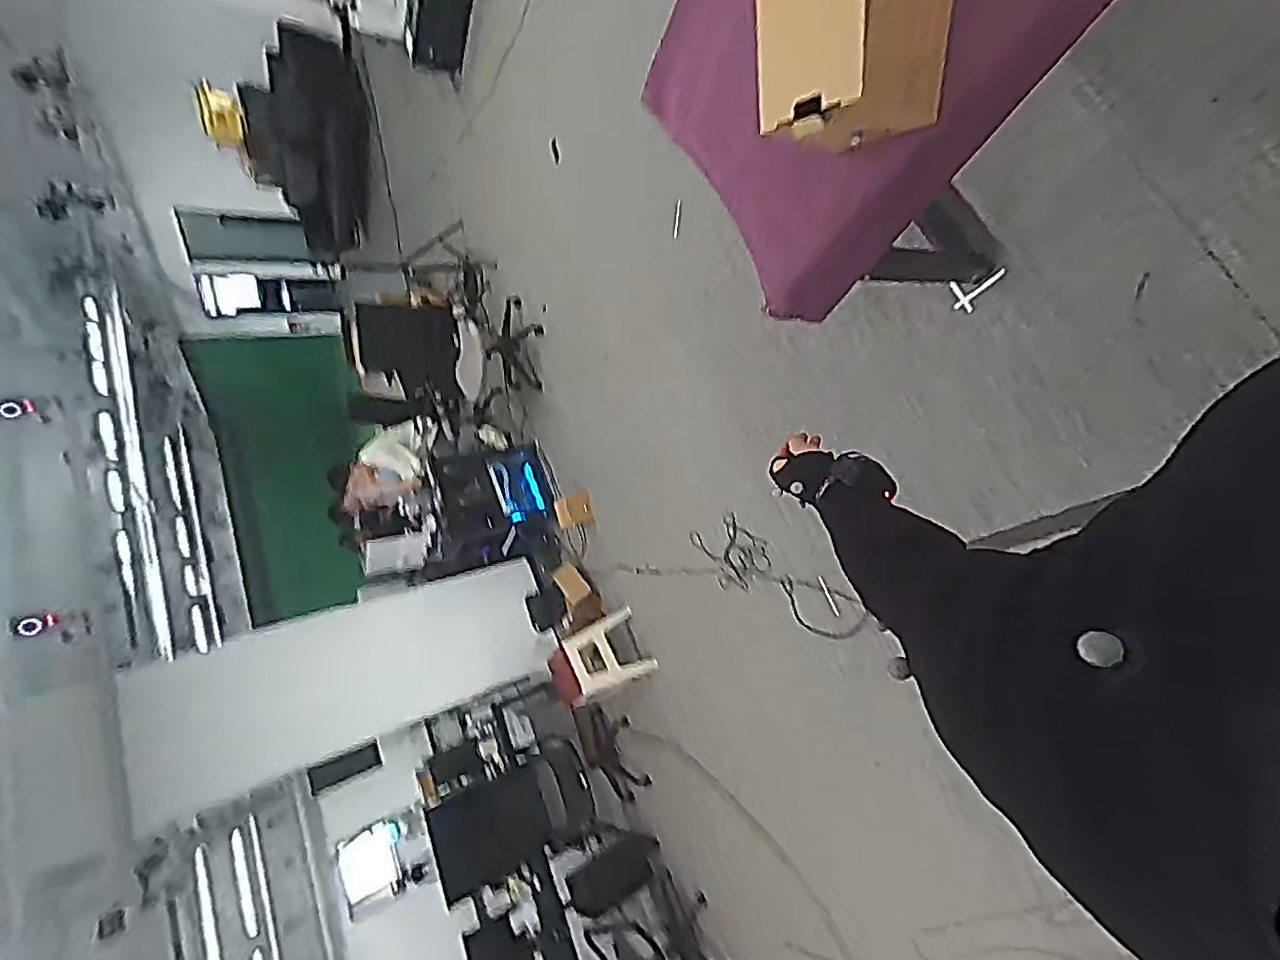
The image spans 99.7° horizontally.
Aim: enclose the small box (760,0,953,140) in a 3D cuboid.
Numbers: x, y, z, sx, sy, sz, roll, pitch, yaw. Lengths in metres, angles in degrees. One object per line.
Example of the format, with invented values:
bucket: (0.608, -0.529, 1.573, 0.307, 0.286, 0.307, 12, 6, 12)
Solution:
small box: (0.282, -0.576, 0.710, 0.168, 0.176, 0.179, 25, 120, 53)
